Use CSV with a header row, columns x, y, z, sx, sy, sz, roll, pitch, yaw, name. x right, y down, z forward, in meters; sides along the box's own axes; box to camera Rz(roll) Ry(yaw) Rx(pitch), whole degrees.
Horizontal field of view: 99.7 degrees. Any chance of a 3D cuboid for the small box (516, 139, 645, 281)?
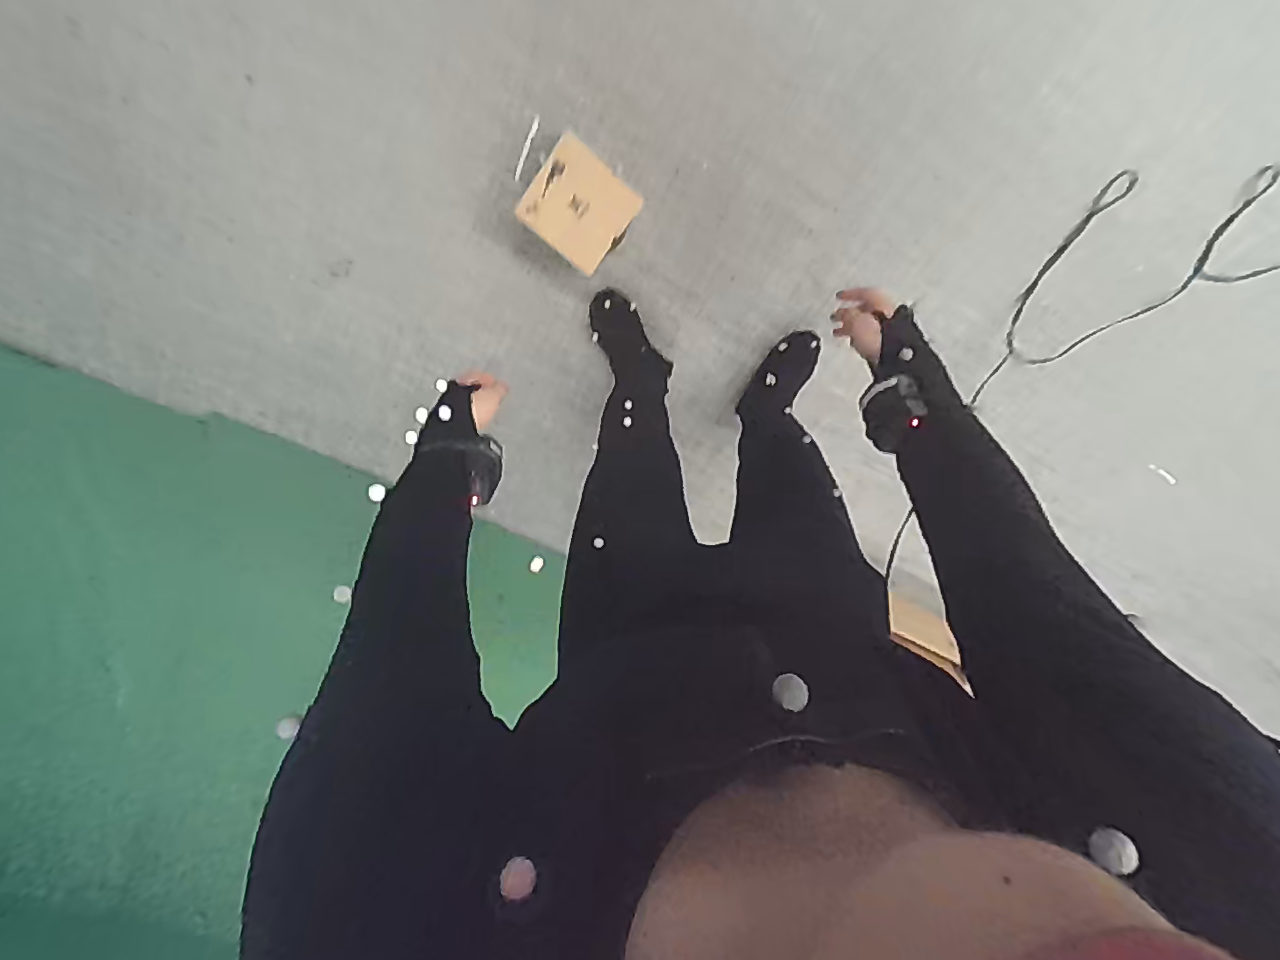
x,y,z,sx,sy,sz,roll,pitch,yaw,name
-0.106,-0.519,1.036,0.179,0.176,0.168,36,114,-19,small box
